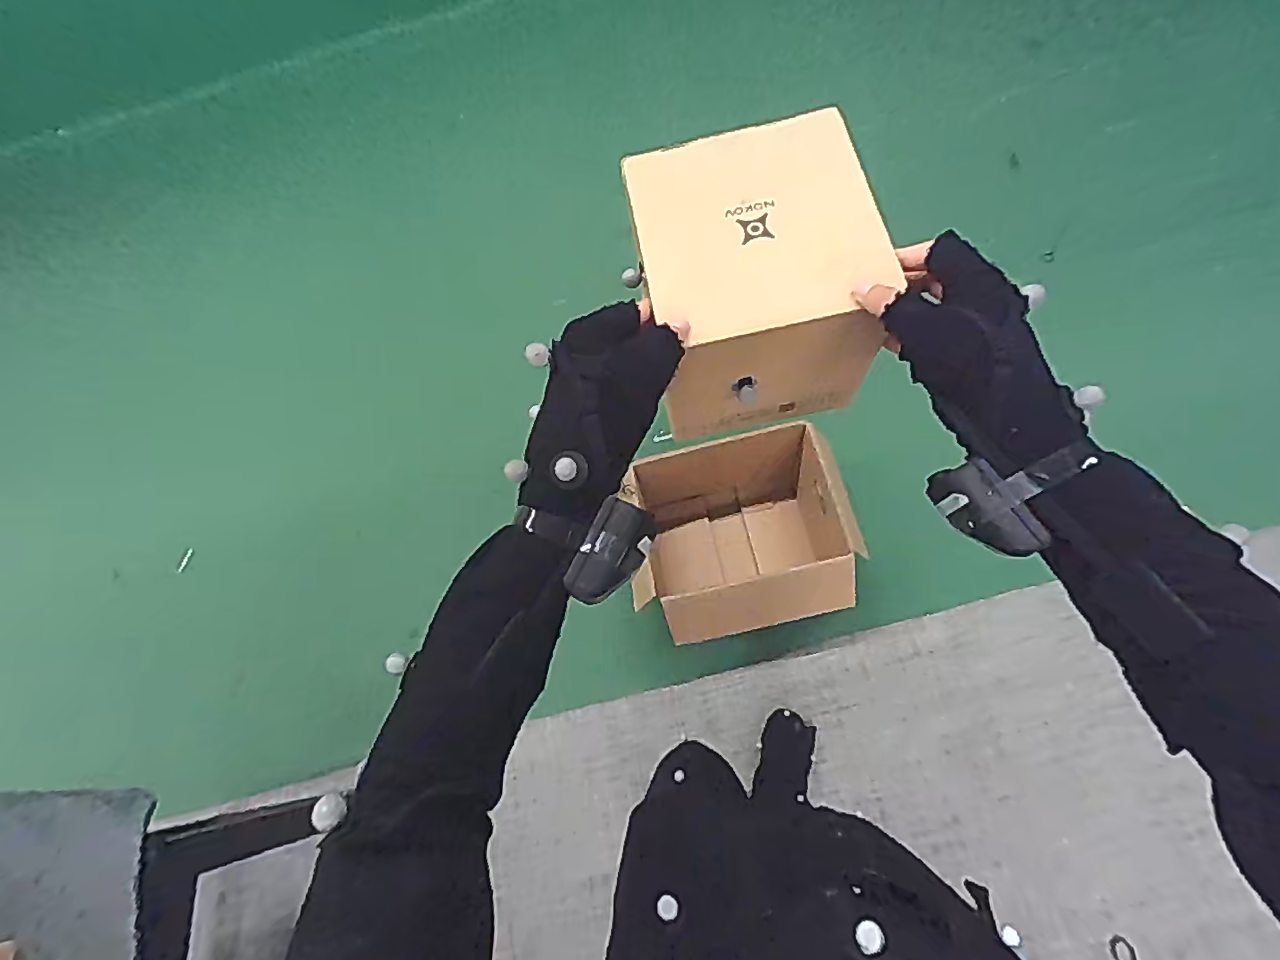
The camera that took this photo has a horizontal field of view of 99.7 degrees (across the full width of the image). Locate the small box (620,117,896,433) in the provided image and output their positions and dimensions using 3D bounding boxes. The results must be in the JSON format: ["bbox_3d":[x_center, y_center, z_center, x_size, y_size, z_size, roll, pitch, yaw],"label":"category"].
[{"bbox_3d":[0.087,-0.152,0.460,0.168,0.176,0.179,-12,70,4],"label":"small box"}]
